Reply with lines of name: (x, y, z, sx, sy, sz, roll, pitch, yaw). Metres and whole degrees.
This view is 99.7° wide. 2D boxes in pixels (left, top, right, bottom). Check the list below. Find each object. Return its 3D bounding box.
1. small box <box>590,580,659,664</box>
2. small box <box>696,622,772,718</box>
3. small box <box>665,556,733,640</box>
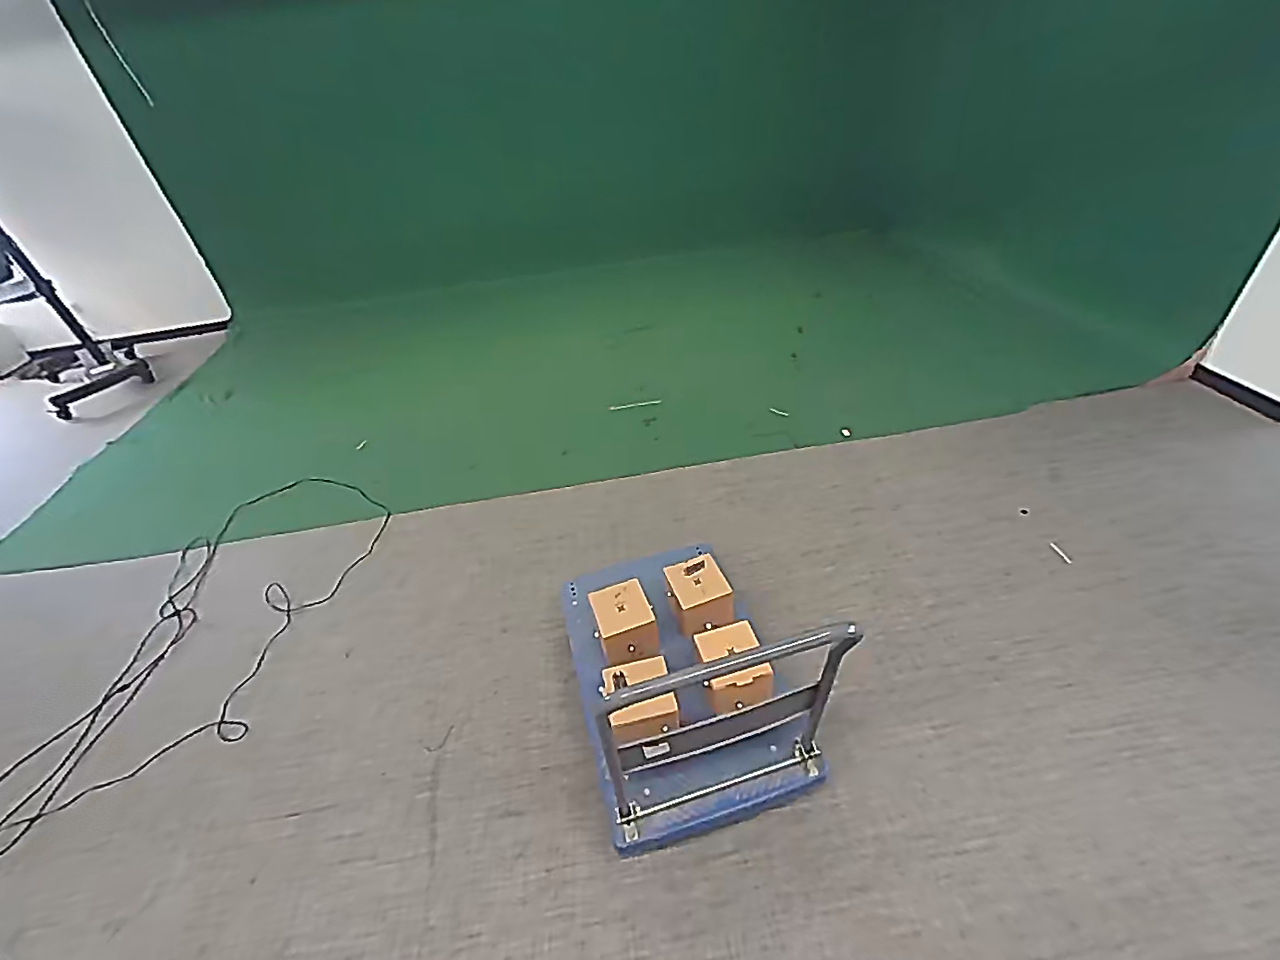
small box: (-0.047, 0.454, 1.699, 0.168, 0.176, 0.179, -16, 40, -12)
small box: (0.262, 0.542, 1.544, 0.168, 0.176, 0.179, -14, 40, -8)
small box: (0.189, 0.381, 1.749, 0.168, 0.176, 0.179, -17, 41, -10)
